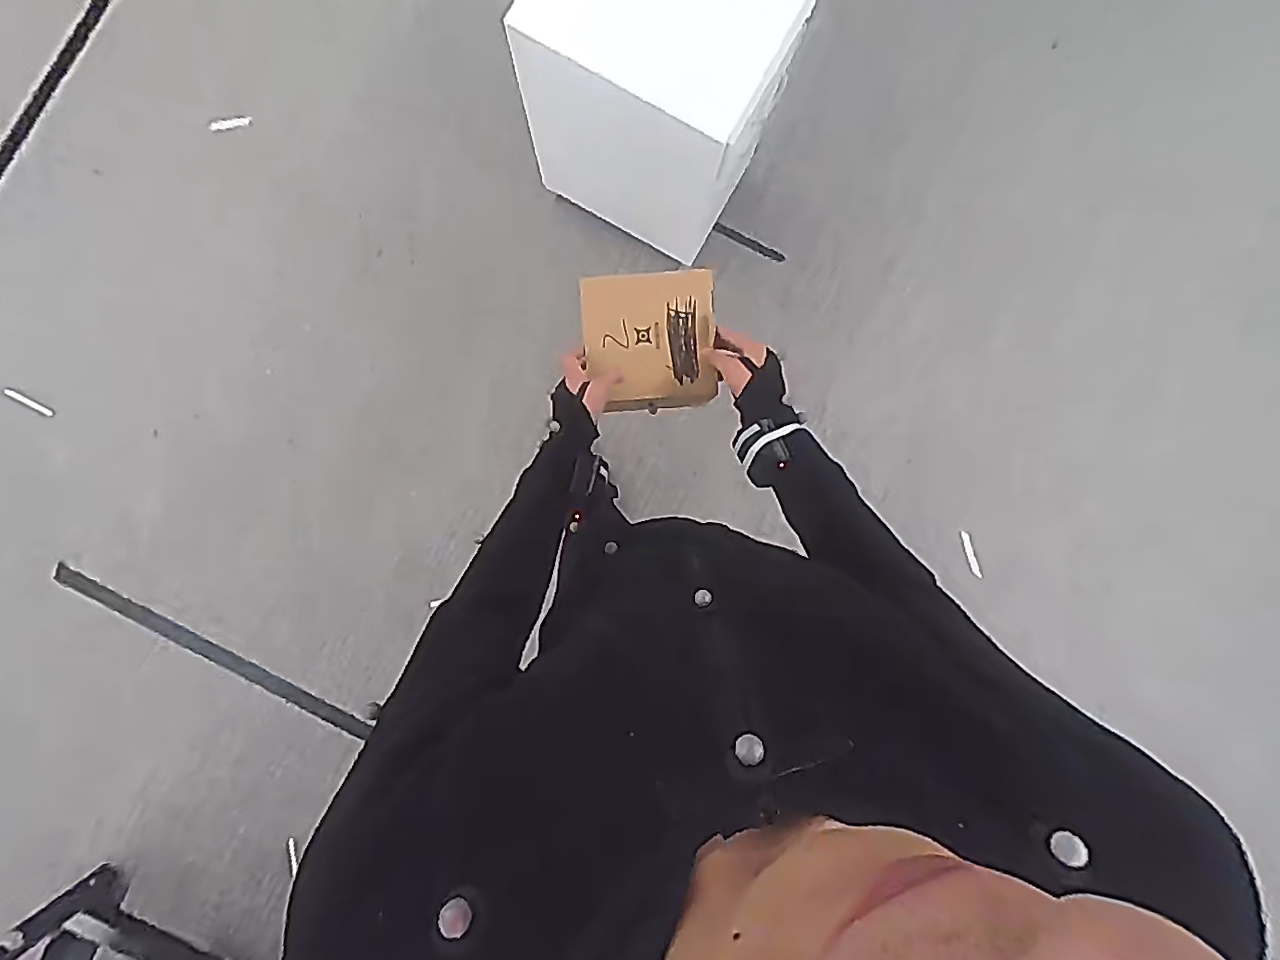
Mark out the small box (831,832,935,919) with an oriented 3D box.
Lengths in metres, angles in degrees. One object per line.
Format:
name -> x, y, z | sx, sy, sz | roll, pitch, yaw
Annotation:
small box -> 0.681, 1.151, 1.534 | 0.179, 0.176, 0.168 | 33, 86, 0

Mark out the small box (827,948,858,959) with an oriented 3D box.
small box -> 0.552, 1.351, 1.362 | 0.168, 0.176, 0.179 | 30, 87, -1
